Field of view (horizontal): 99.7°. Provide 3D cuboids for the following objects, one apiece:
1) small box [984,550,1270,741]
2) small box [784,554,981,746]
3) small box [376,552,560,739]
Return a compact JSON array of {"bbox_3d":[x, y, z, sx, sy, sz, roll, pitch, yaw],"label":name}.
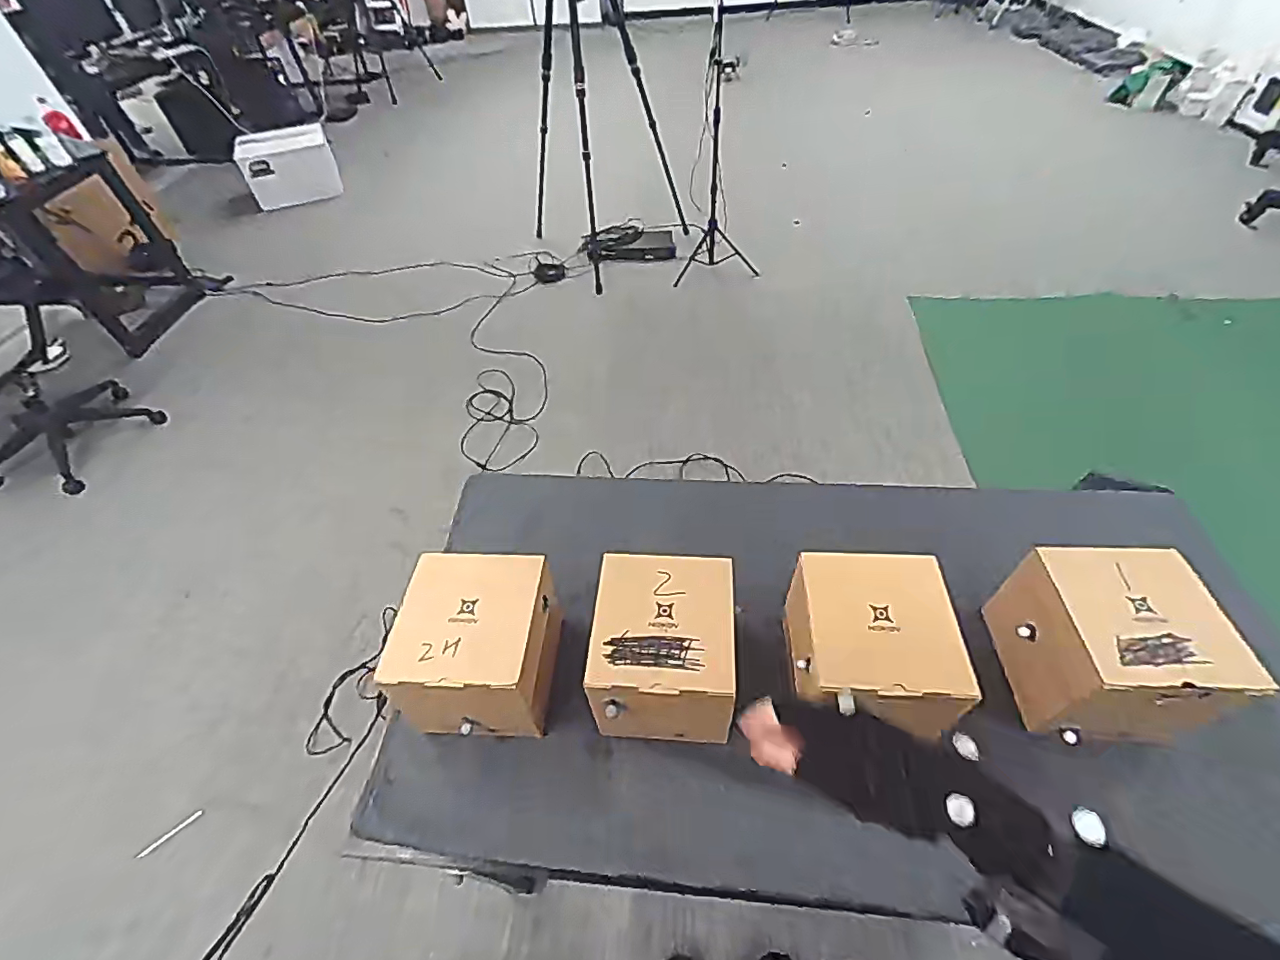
[{"bbox_3d":[0.565,0.205,0.664,0.168,0.176,0.179,1,48,5],"label":"small box"},{"bbox_3d":[0.283,0.214,0.681,0.168,0.176,0.179,1,50,4],"label":"small box"},{"bbox_3d":[-0.204,0.215,0.705,0.168,0.176,0.179,1,48,4],"label":"small box"}]
